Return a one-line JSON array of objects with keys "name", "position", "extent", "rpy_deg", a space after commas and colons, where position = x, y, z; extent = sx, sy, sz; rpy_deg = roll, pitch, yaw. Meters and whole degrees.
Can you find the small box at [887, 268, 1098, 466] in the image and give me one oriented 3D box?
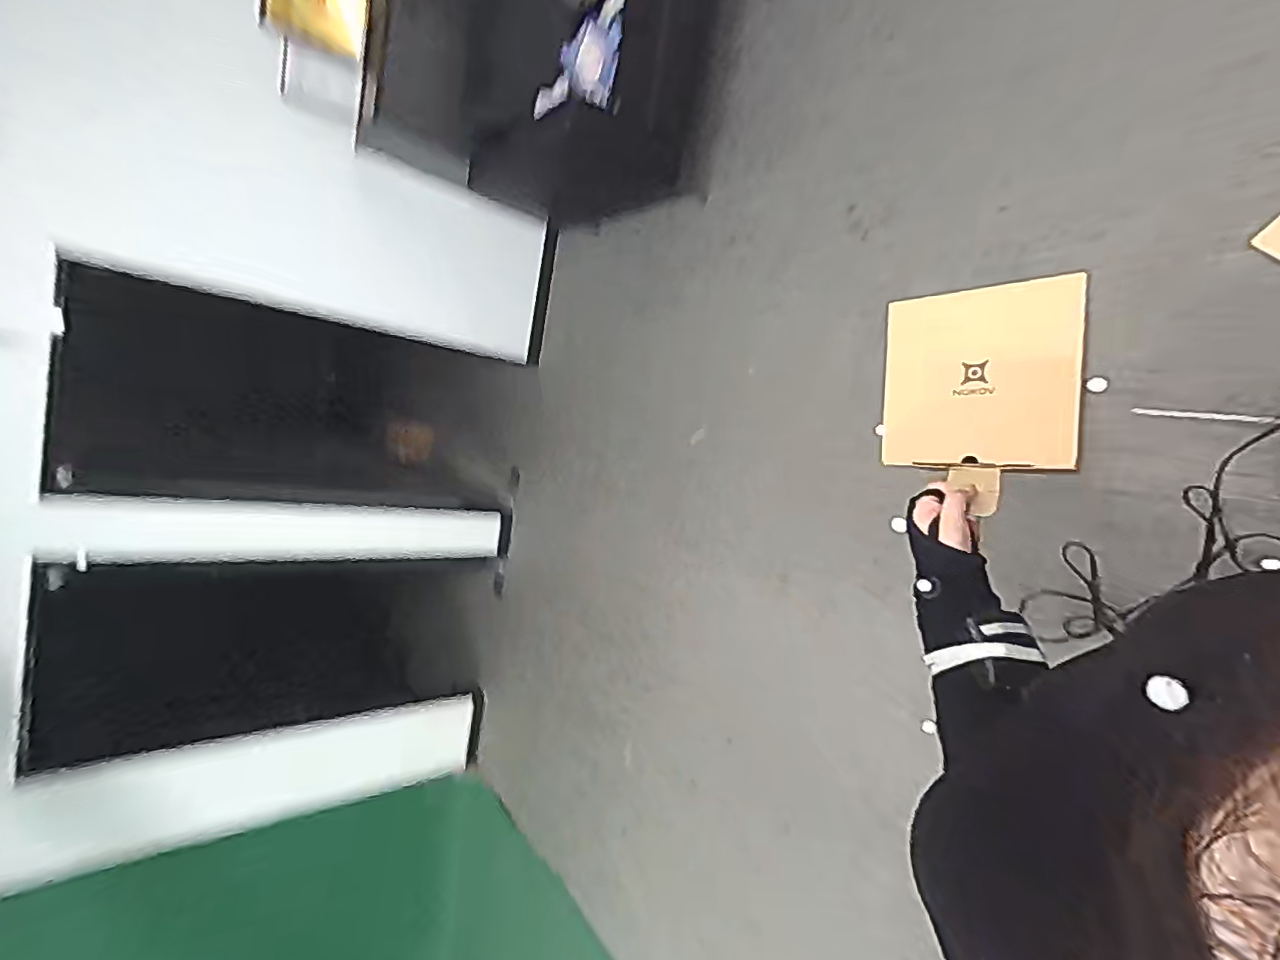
[{"name": "small box", "position": [0.388, -0.109, 0.594], "extent": [0.168, 0.176, 0.179], "rpy_deg": [5, 94, 41]}]
